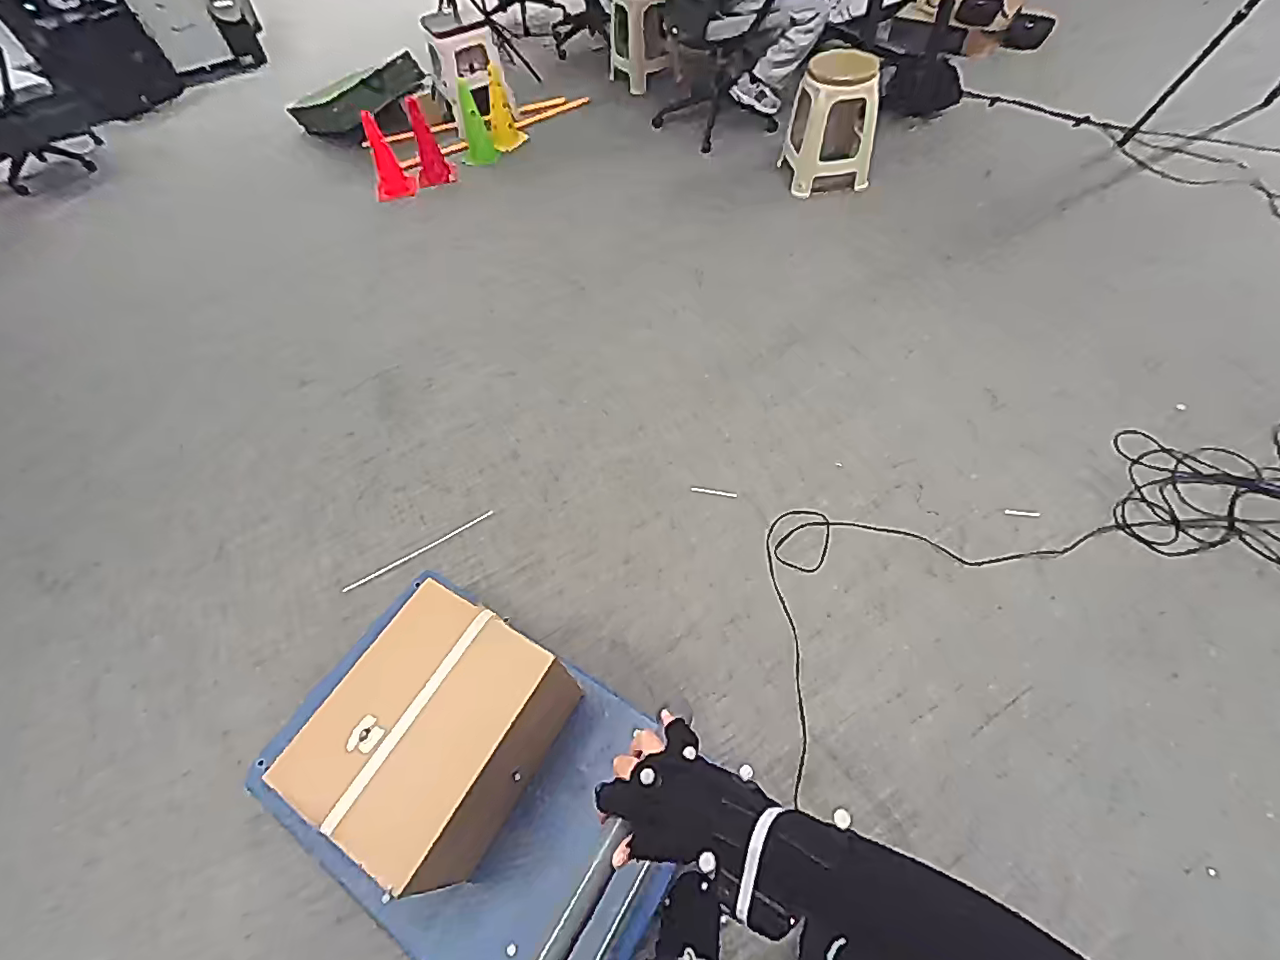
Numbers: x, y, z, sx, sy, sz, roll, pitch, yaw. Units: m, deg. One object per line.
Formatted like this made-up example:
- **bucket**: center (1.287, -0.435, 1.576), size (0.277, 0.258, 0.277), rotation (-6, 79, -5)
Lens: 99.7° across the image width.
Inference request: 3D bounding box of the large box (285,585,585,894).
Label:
- **large box**: center (-0.357, 0.490, 1.065), size (0.320, 0.320, 0.408), rotation (24, 63, 20)
